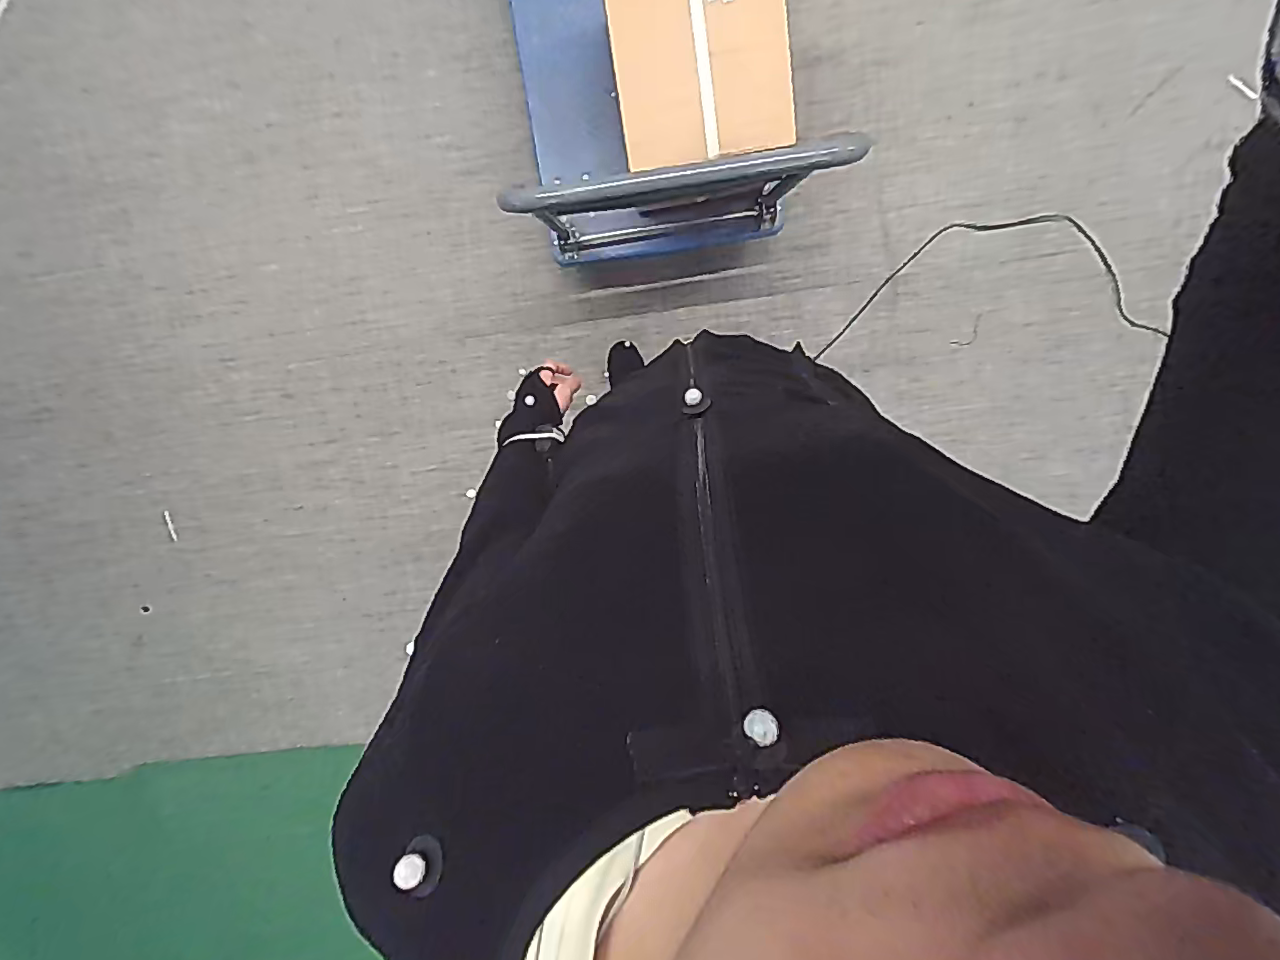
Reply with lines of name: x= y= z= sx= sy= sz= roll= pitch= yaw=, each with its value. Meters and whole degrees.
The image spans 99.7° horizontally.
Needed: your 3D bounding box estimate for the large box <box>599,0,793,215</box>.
large box: x=0.104 y=-0.813 z=1.099 sx=0.320 sy=0.320 sz=0.408 roll=-9 pitch=104 yaw=4
